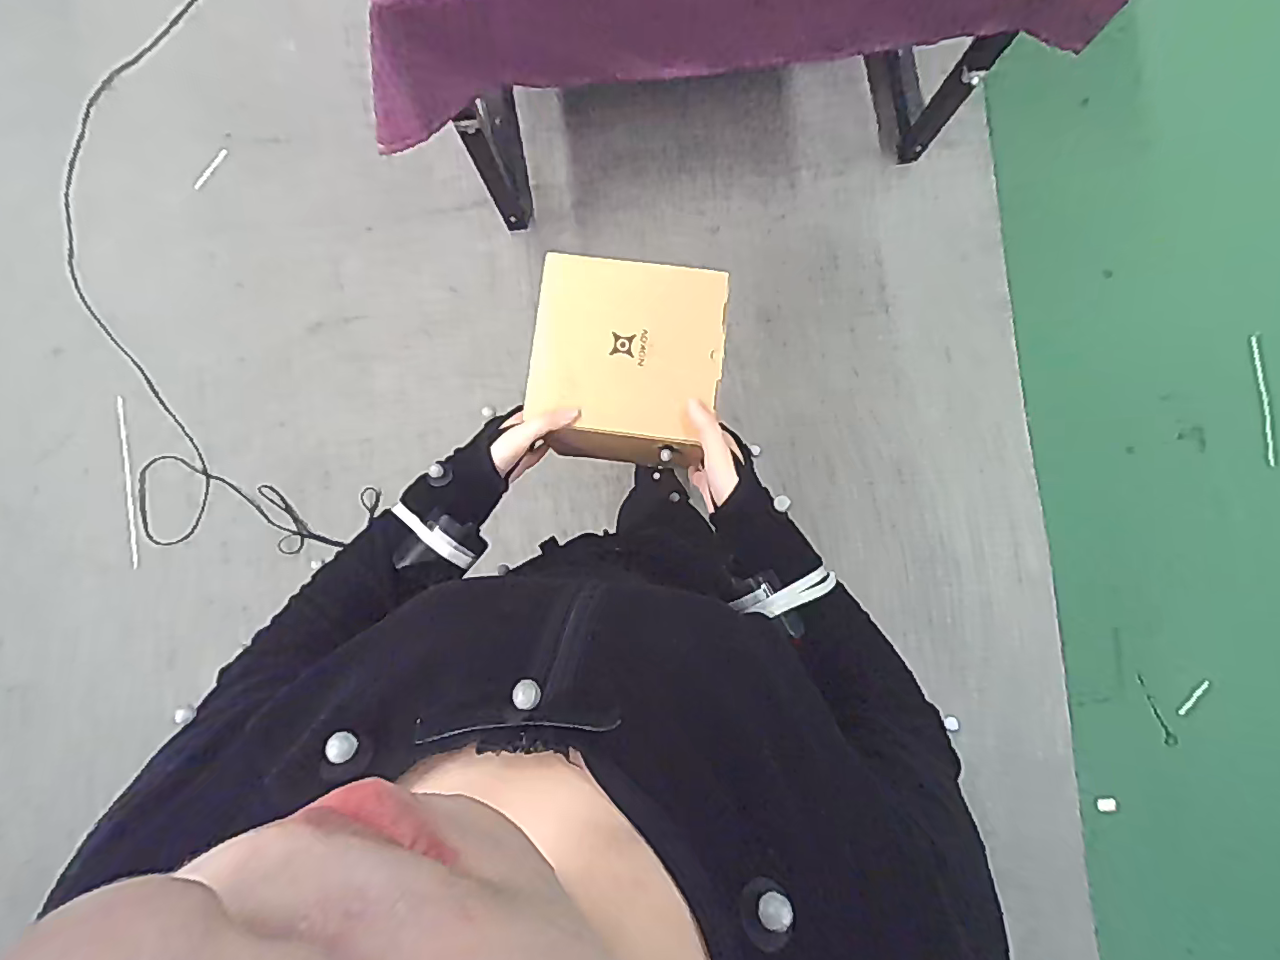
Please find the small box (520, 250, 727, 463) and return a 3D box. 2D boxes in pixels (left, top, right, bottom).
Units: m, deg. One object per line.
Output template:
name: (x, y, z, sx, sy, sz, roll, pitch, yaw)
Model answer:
small box: (-0.013, -0.118, 0.578, 0.179, 0.176, 0.168, 7, 82, 1)
